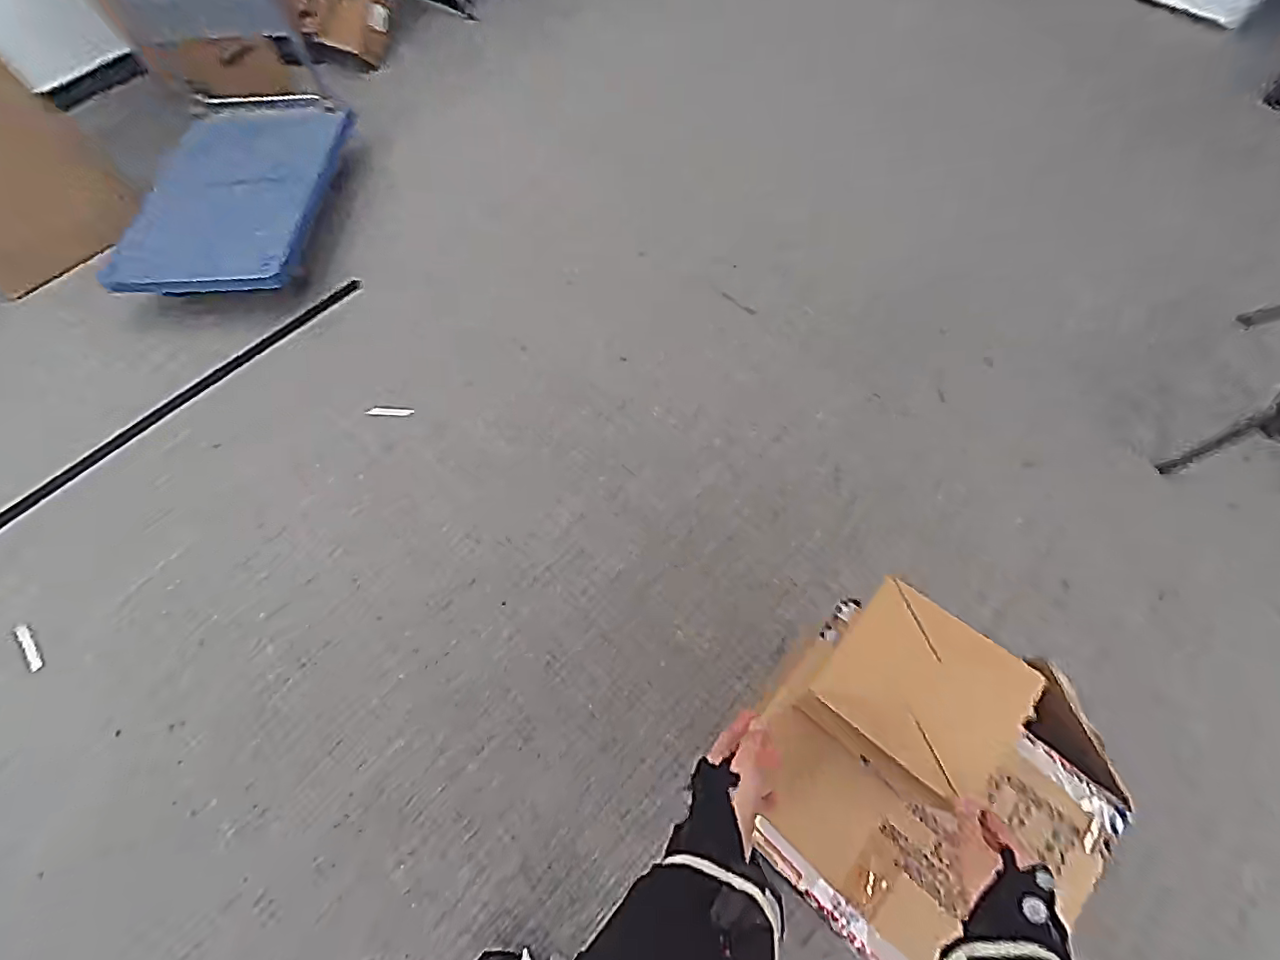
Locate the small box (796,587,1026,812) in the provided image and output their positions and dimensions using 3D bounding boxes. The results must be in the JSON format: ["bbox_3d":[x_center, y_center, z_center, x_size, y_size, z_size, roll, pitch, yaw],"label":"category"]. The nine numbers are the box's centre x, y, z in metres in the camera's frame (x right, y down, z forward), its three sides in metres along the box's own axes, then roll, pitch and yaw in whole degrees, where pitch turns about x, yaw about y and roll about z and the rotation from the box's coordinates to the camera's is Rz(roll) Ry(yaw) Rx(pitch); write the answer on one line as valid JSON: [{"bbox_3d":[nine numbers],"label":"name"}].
[{"bbox_3d":[0.310,0.256,0.638,0.179,0.176,0.168,37,73,23],"label":"small box"}]
